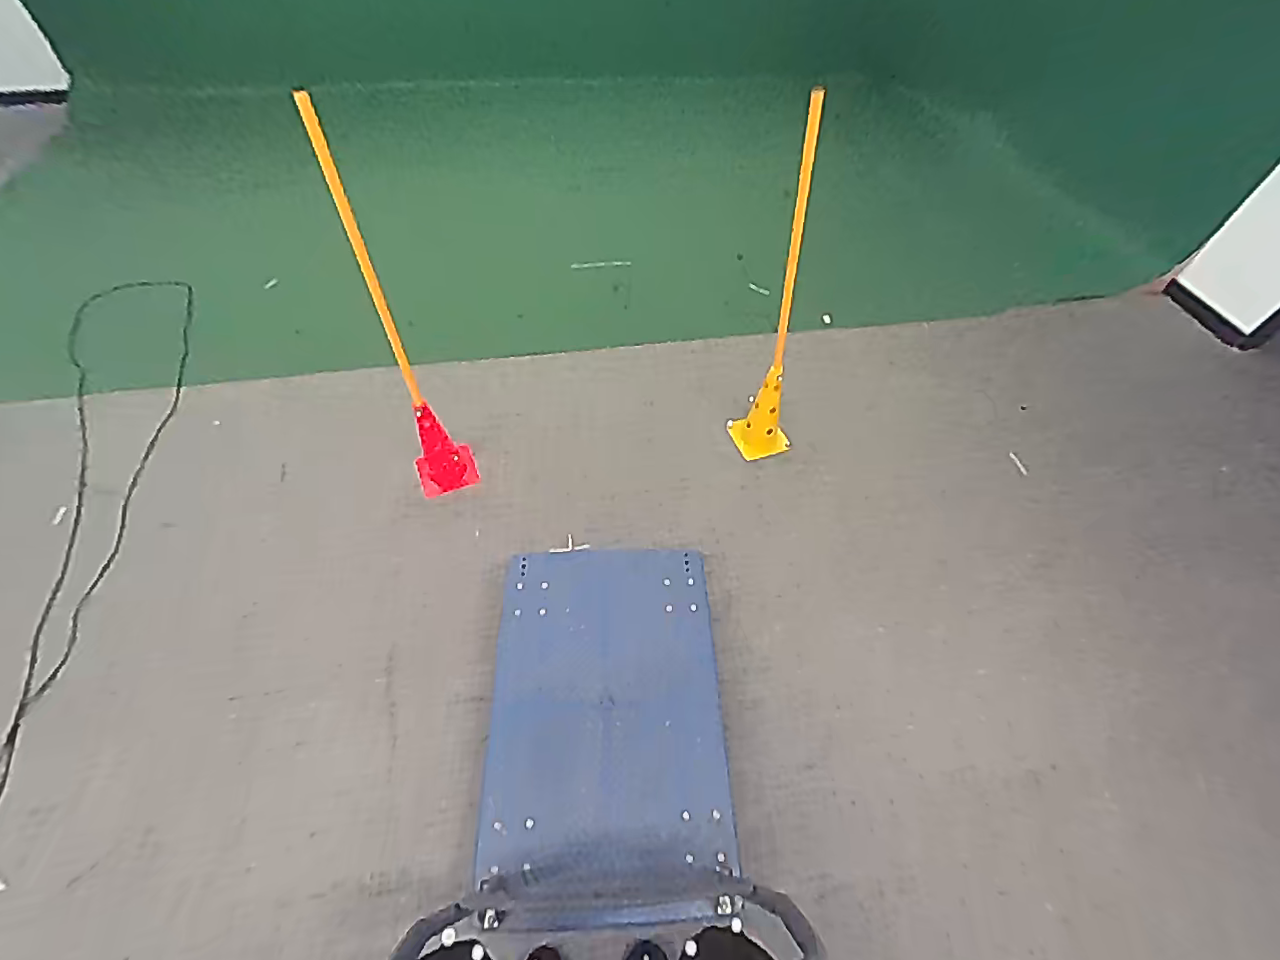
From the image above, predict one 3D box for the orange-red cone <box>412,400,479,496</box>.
[{"bbox_3d":[-0.705,-0.136,1.849,0.199,0.360,0.198,-19,56,-14],"label":"orange-red cone"}]
